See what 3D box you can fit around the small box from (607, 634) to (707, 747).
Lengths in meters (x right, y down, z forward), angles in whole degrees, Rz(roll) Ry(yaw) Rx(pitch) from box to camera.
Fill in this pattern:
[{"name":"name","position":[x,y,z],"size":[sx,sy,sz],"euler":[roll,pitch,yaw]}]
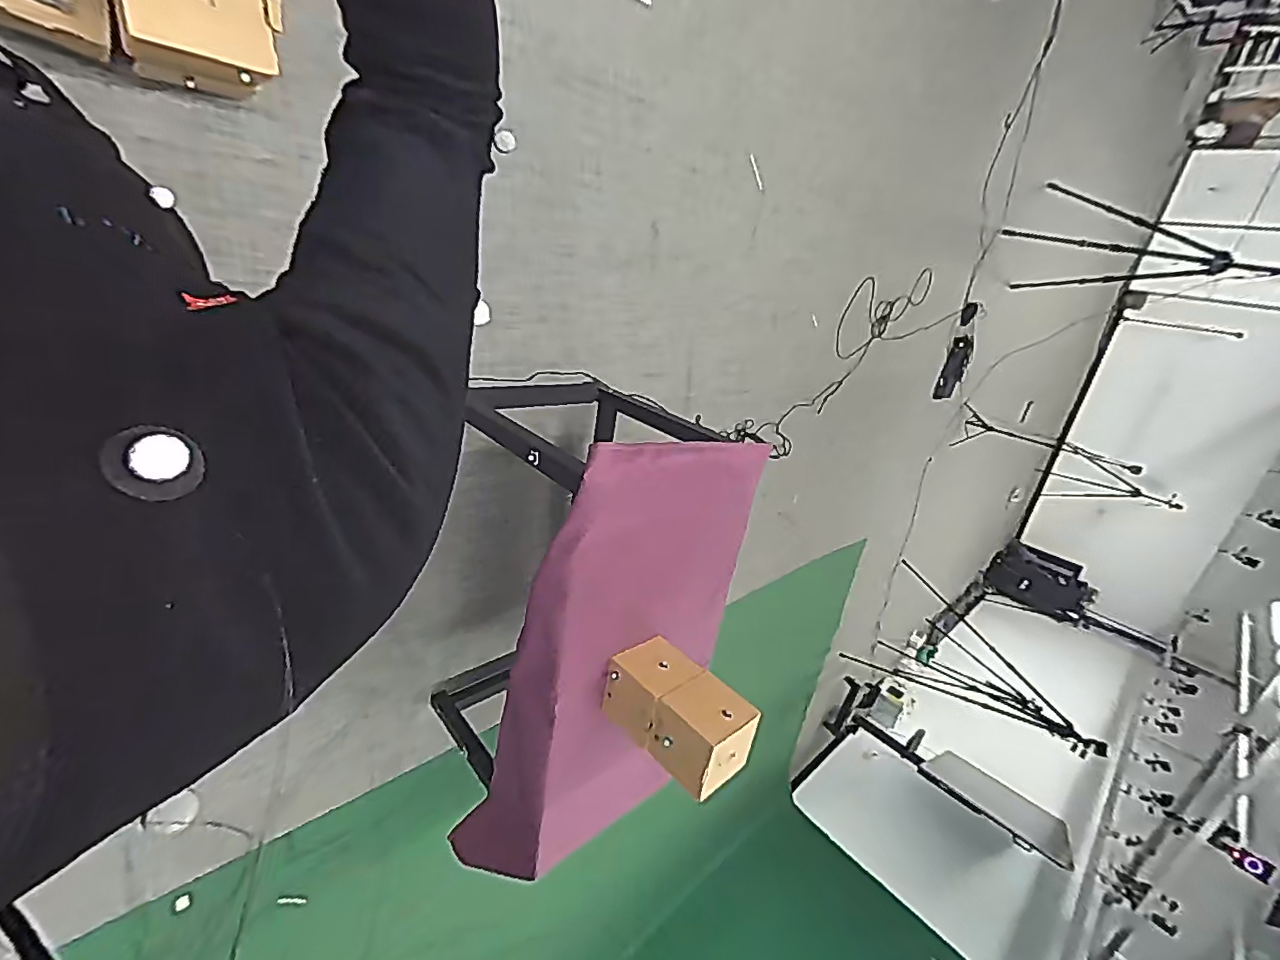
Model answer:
[{"name":"small box","position":[0.037,0.522,1.364],"size":[0.179,0.176,0.168],"euler":[-10,119,-43]}]

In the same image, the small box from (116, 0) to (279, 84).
[{"name":"small box","position":[-0.669,-0.719,0.809],"size":[0.179,0.176,0.168],"euler":[-14,121,-41]}]

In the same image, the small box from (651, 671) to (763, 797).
[{"name":"small box","position":[0.152,0.579,1.262],"size":[0.179,0.176,0.168],"euler":[-10,118,-42]}]
